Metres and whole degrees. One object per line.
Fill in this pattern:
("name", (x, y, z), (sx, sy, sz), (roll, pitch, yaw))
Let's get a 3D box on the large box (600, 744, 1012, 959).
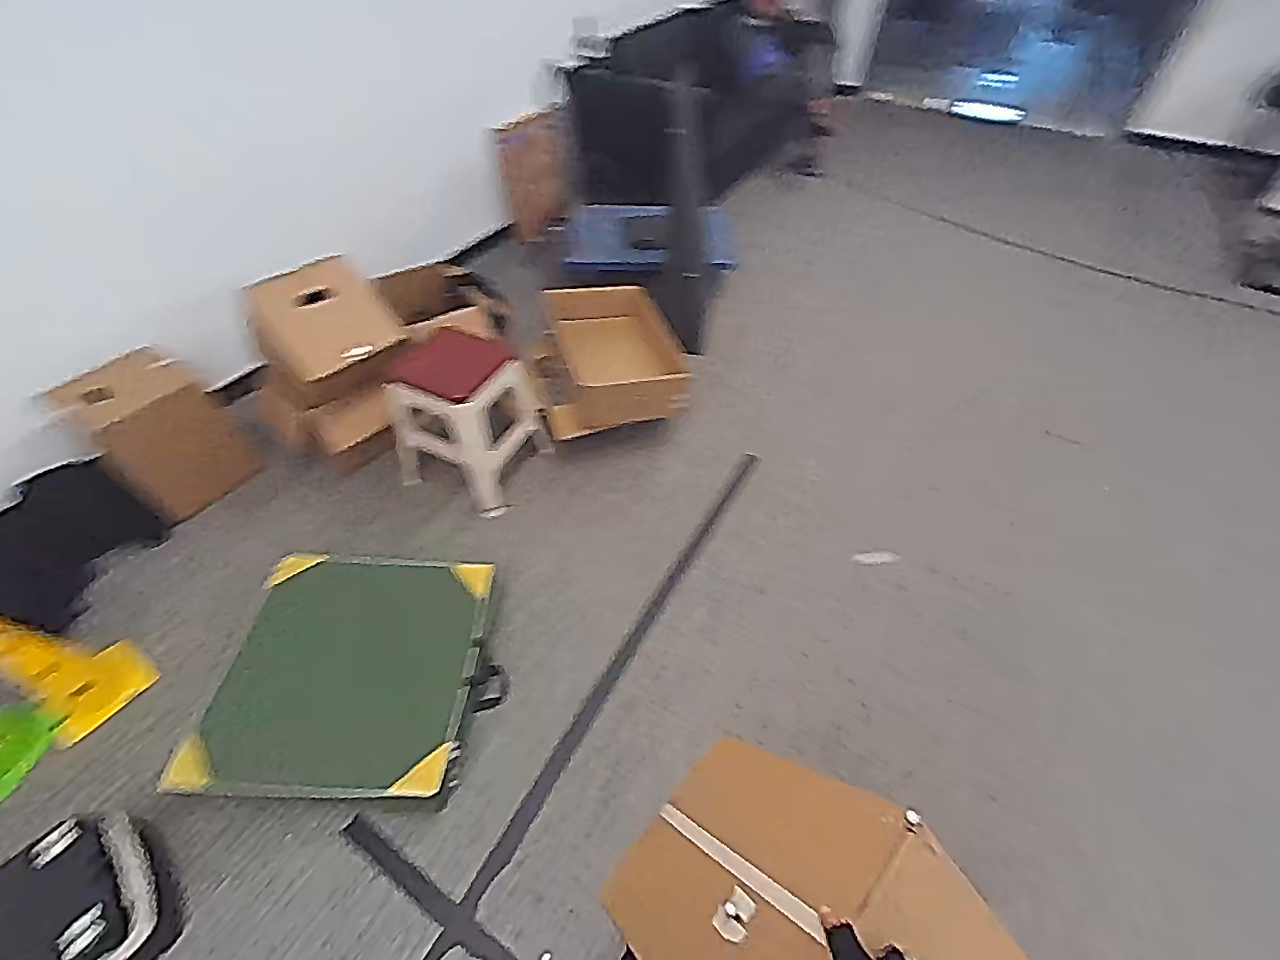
("large box", (0.211, 0.626, 0.719), (0.320, 0.408, 0.320), (-39, 96, -26))
